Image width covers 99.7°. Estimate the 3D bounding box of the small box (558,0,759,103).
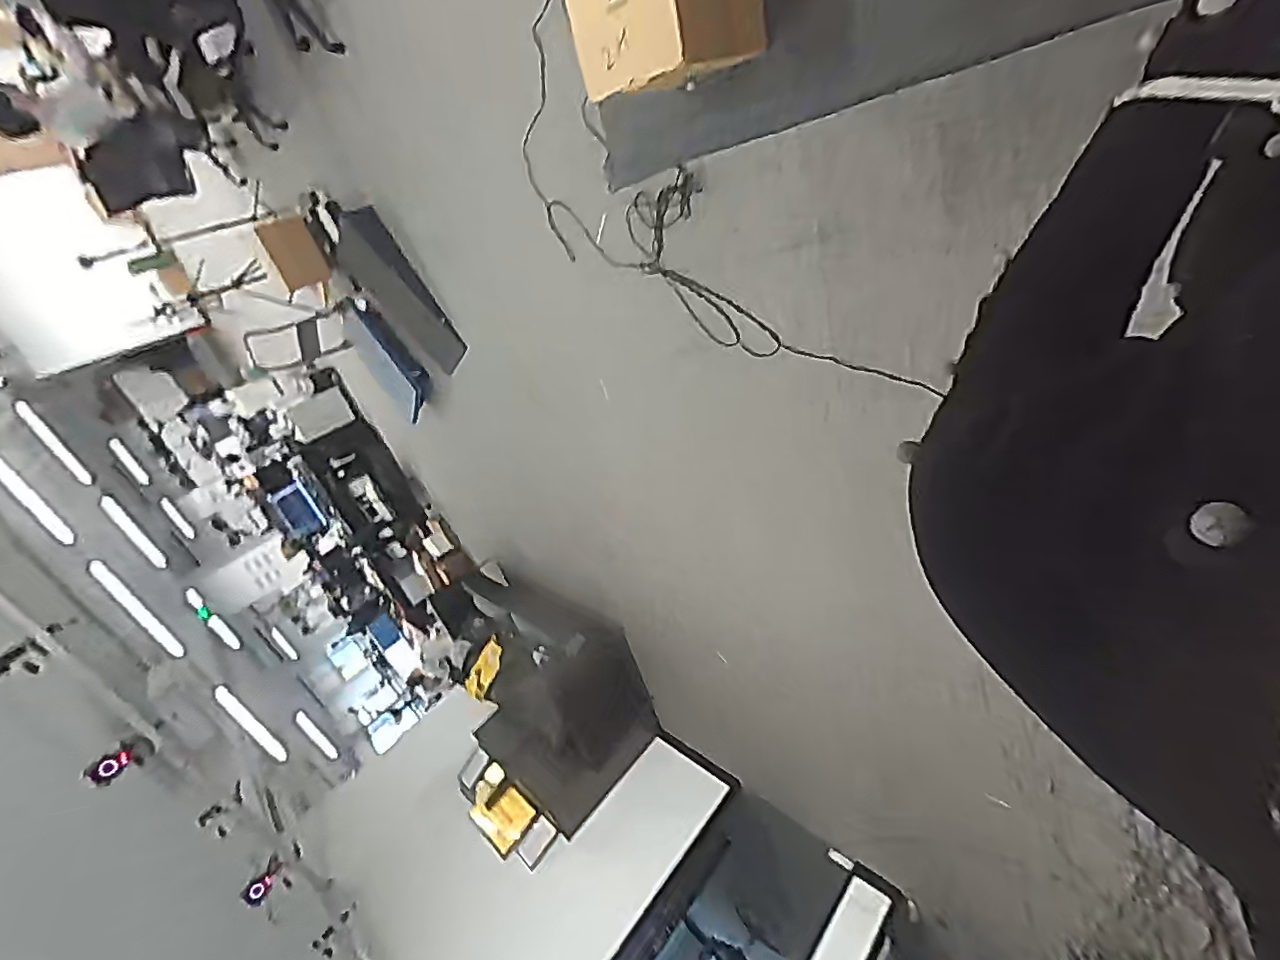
[{"bbox_3d":[0.020,-0.573,0.635,0.168,0.176,0.179,16,132,42],"label":"small box"}]
